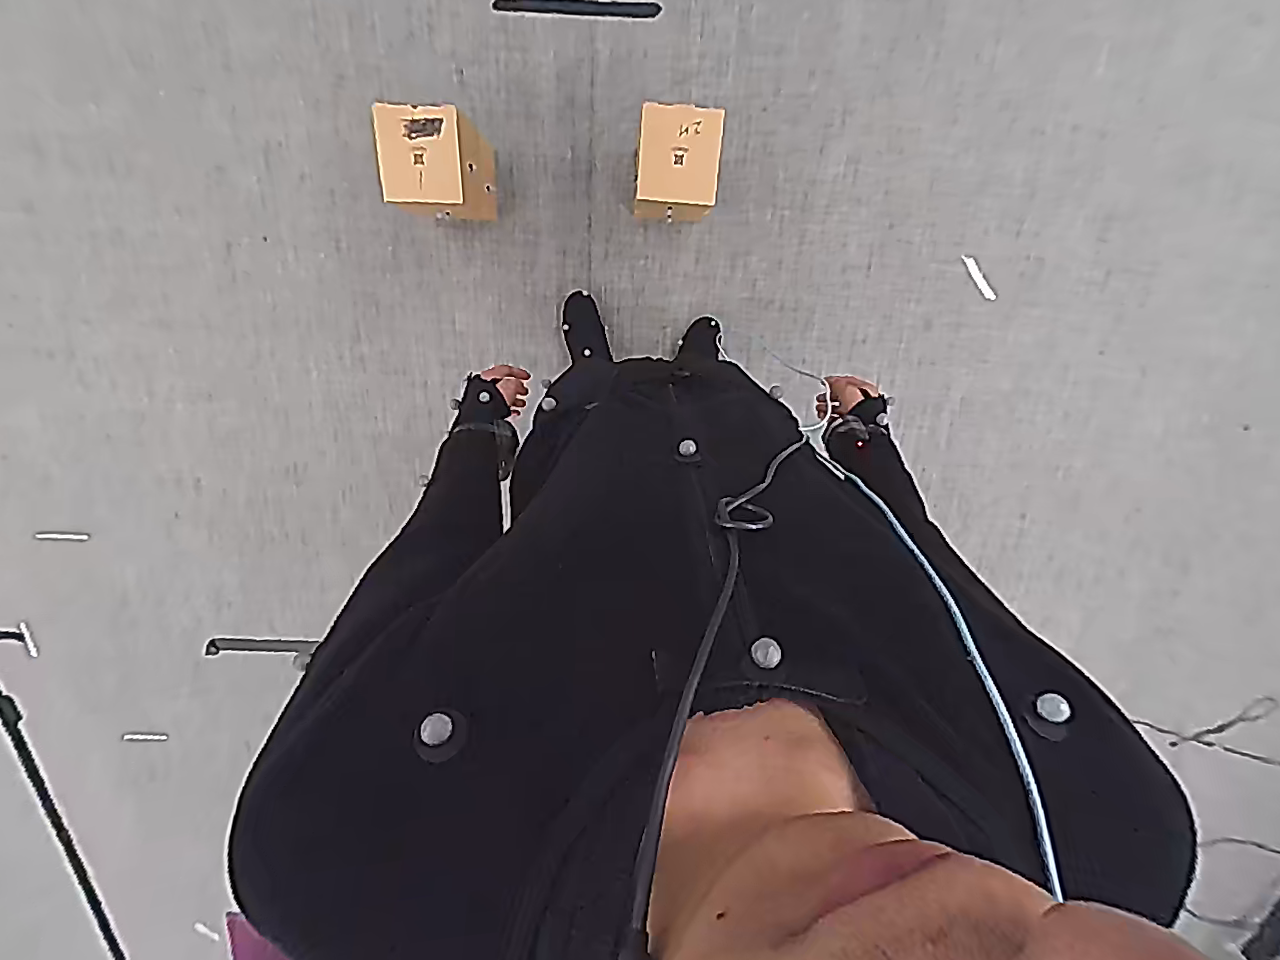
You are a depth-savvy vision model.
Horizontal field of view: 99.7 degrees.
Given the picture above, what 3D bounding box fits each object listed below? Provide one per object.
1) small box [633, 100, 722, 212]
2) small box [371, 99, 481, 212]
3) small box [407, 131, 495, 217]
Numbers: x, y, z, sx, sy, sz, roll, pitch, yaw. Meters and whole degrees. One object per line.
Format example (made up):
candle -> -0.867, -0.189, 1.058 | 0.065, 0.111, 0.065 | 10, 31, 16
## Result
small box -> 0.073, -0.687, 1.166 | 0.168, 0.176, 0.179 | 4, 110, -4
small box -> -0.445, -0.682, 1.152 | 0.168, 0.176, 0.179 | 2, 111, -2
small box -> -0.455, -0.737, 1.307 | 0.179, 0.176, 0.168 | 1, 111, -1
